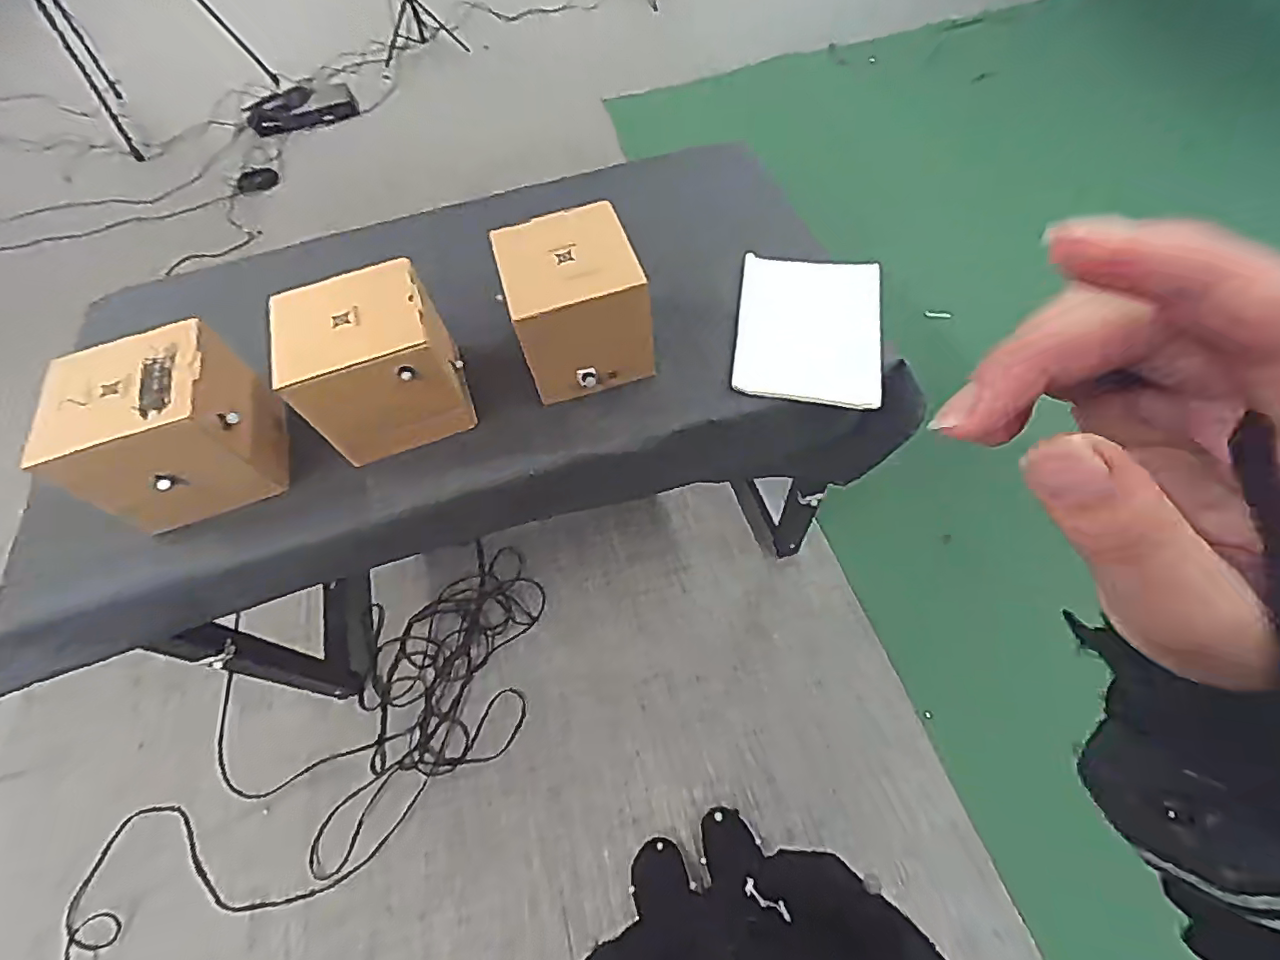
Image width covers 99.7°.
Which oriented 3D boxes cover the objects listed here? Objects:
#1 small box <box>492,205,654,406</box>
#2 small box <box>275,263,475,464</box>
[{"bbox_3d":[-0.086,-0.233,0.741,0.168,0.176,0.179,-18,61,-4],"label":"small box"},{"bbox_3d":[-0.342,-0.146,0.714,0.179,0.176,0.168,-20,60,-7],"label":"small box"}]
